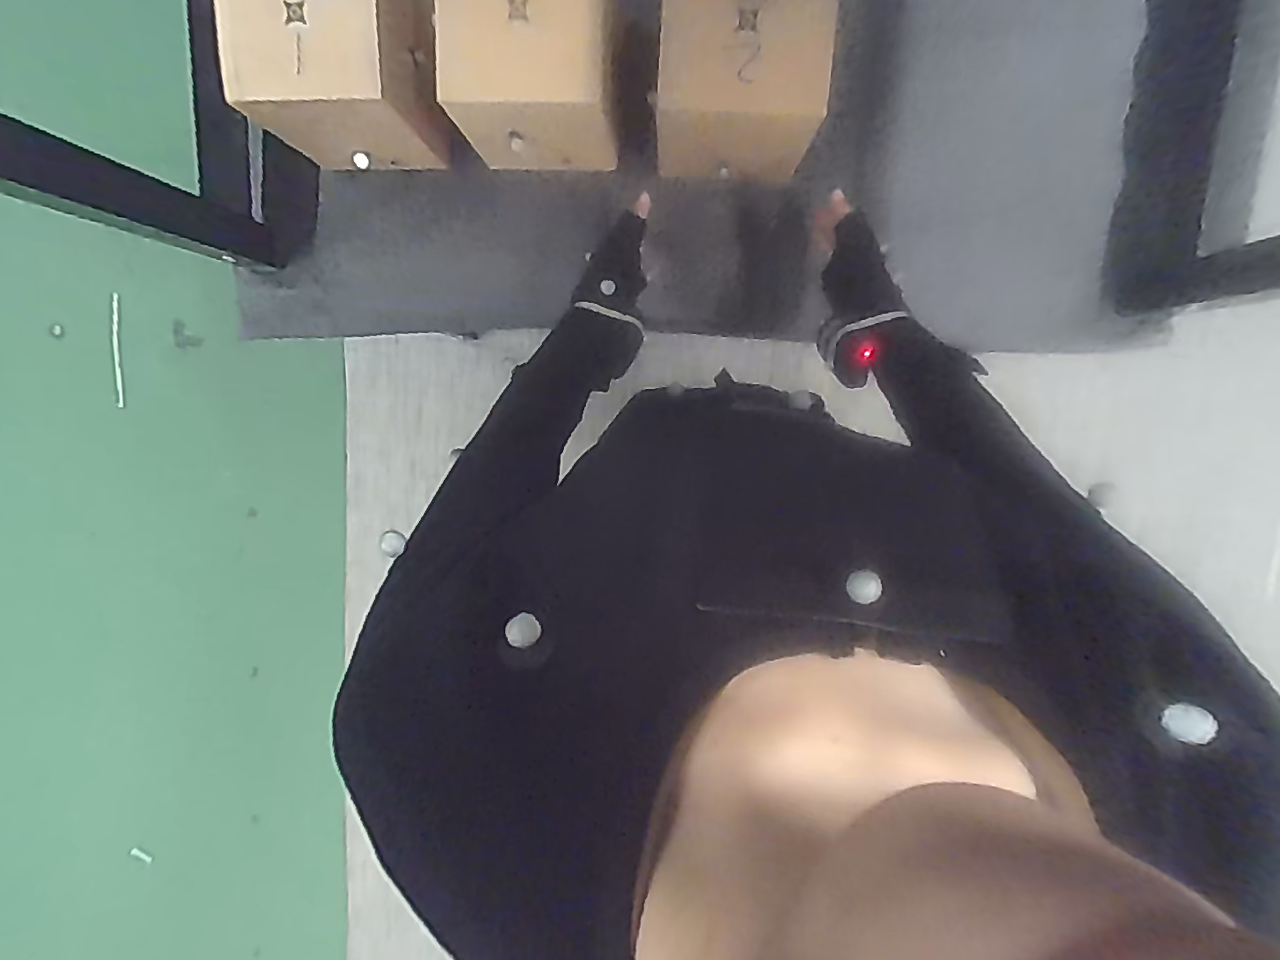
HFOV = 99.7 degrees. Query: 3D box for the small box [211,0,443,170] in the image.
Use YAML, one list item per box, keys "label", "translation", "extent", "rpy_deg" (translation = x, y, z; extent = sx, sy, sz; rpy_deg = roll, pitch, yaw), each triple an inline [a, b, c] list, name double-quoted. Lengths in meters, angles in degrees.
- label: "small box"
  translation: [-0.334, -0.477, 0.606]
  extent: [0.168, 0.176, 0.179]
  rpy_deg: [2, 99, 3]
